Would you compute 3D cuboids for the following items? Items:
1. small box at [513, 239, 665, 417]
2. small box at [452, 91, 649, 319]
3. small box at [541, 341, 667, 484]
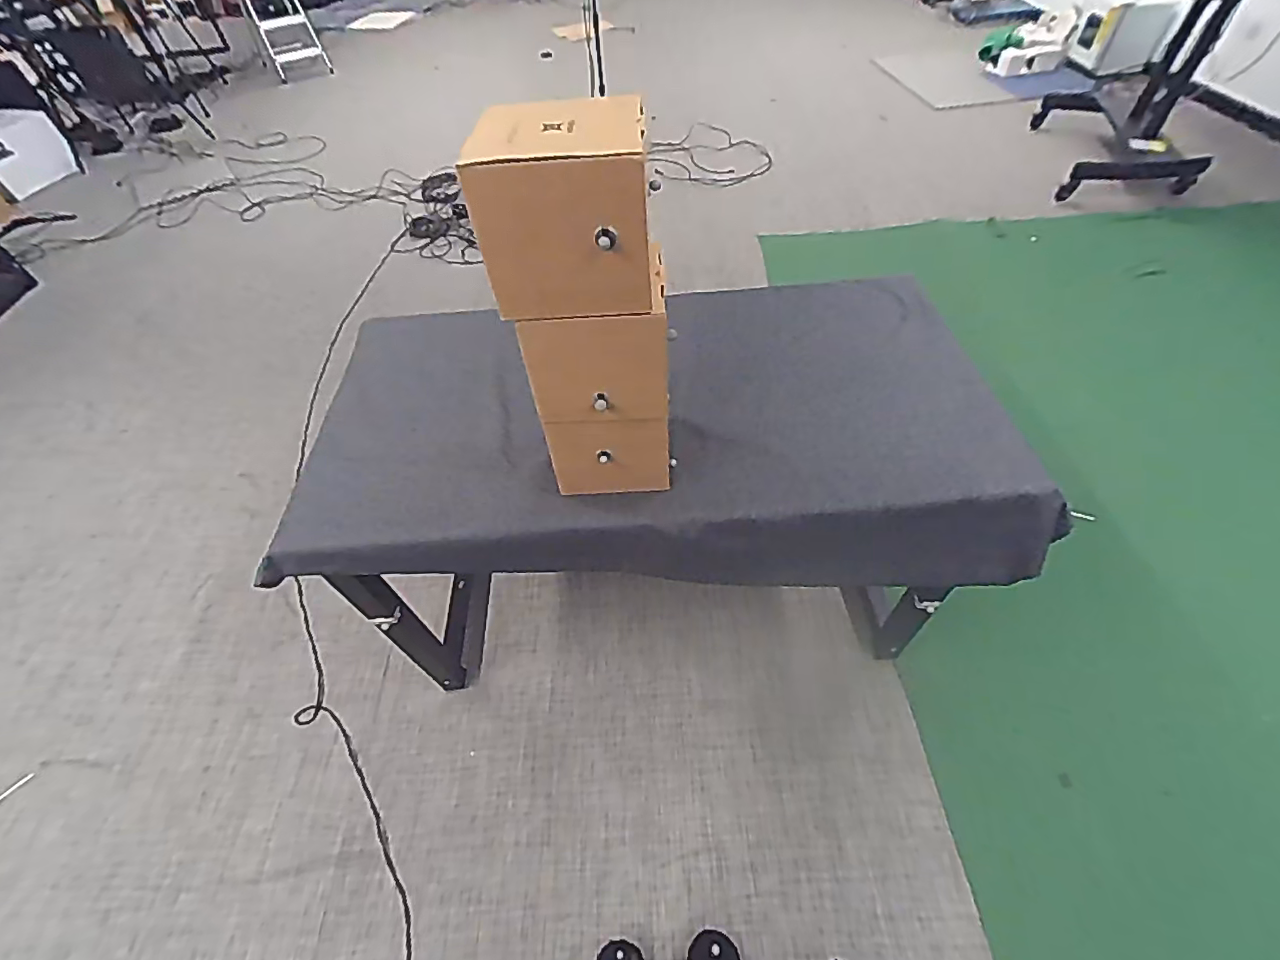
[{"bbox_3d":[-0.056,-0.200,0.728,0.179,0.176,0.168,-3,51,2],"label":"small box"},{"bbox_3d":[-0.081,-0.299,0.600,0.179,0.176,0.168,-4,50,4],"label":"small box"},{"bbox_3d":[-0.046,-0.105,0.857,0.179,0.176,0.168,-1,50,4],"label":"small box"}]
